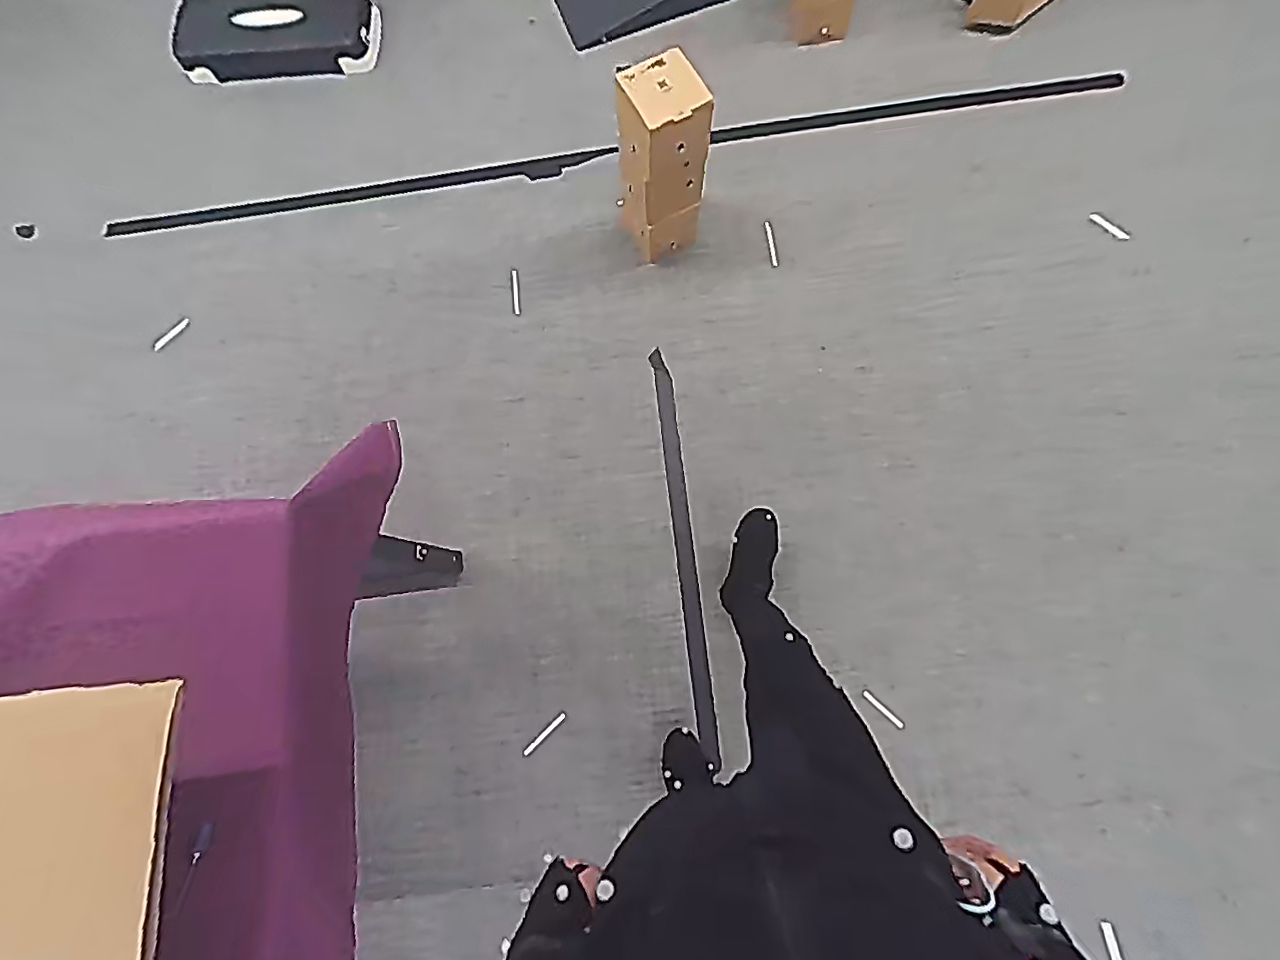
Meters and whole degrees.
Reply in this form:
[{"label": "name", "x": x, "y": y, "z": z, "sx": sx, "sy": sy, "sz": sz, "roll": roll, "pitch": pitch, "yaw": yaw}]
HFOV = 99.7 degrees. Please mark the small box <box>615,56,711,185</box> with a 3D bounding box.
[{"label": "small box", "x": 0.055, "y": -0.847, "z": 1.297, "sx": 0.168, "sy": 0.176, "sz": 0.179, "roll": -27, "pitch": 78, "yaw": -5}]
